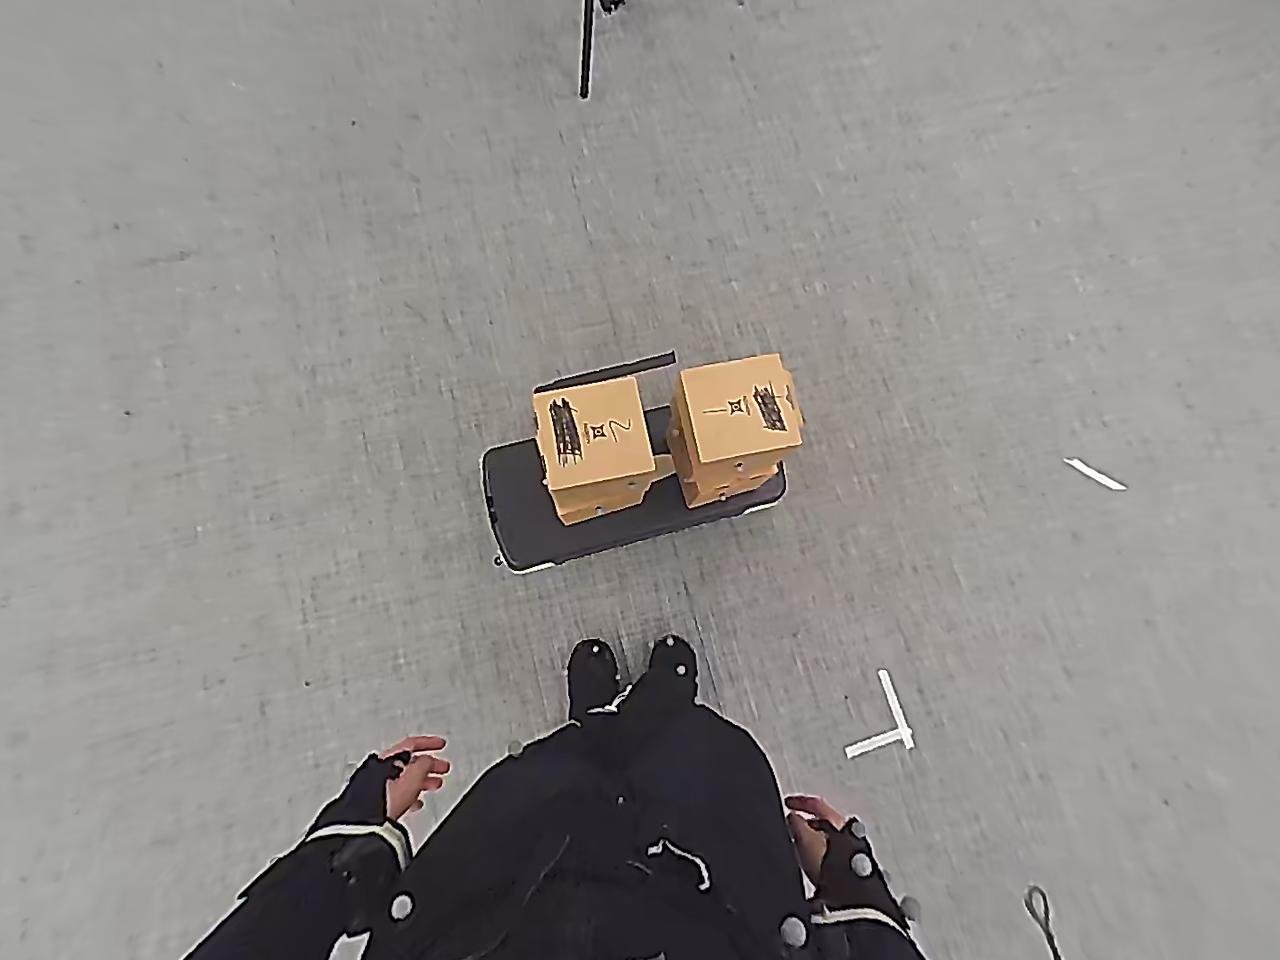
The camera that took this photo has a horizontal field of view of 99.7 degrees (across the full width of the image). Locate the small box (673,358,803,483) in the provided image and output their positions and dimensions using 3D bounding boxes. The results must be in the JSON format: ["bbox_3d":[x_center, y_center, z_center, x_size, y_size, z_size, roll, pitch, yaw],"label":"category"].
[{"bbox_3d":[0.166,-0.100,0.973,0.179,0.176,0.168,-11,79,-4],"label":"small box"}]

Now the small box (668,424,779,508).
[{"bbox_3d":[0.165,-0.054,1.132,0.168,0.176,0.179,-16,80,-6],"label":"small box"}]
